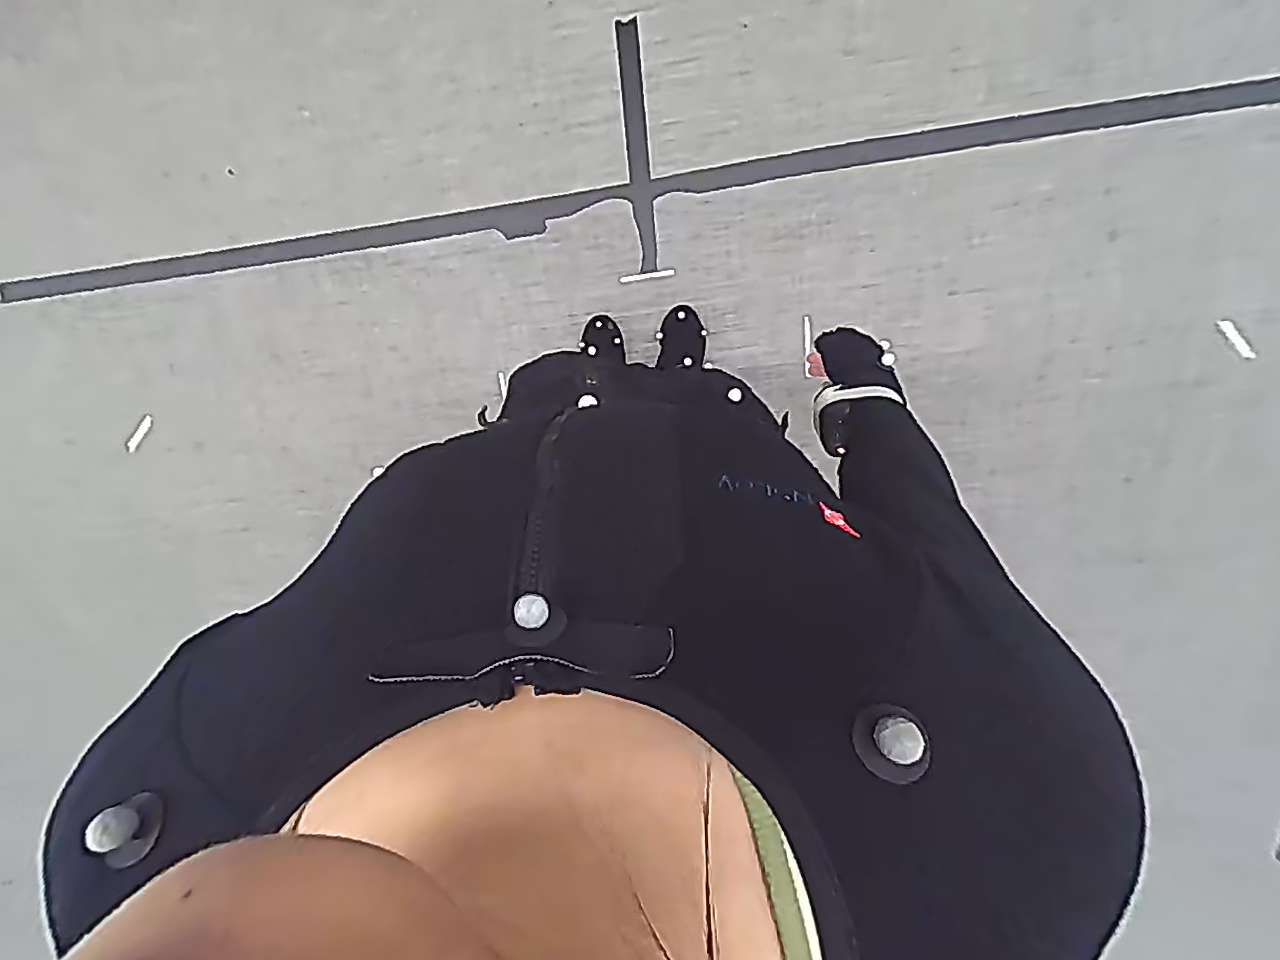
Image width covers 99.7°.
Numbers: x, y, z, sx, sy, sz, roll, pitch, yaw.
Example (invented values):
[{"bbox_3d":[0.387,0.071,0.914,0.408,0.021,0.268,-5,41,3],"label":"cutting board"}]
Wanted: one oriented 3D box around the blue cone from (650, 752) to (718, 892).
[{"bbox_3d":[0.135,1.028,1.606,0.193,0.380,0.192,-21,105,10],"label":"blue cone"}]
